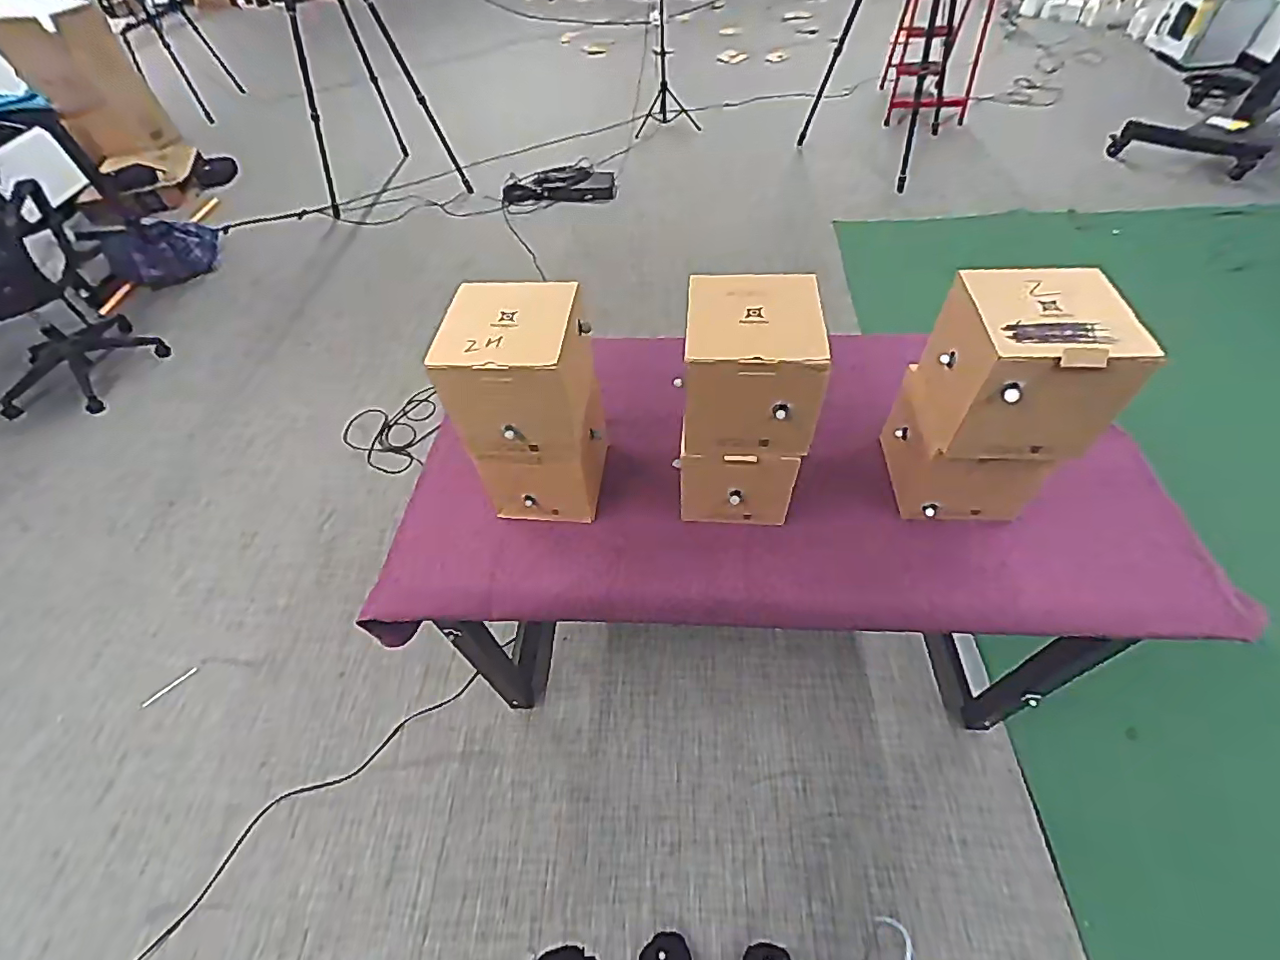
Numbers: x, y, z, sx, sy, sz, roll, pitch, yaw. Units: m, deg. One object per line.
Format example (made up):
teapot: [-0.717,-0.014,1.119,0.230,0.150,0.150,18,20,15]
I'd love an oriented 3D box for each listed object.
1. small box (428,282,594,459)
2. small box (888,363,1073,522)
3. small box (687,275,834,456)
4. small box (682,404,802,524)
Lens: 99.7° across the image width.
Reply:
small box: [-0.160,-0.150,0.745,0.168,0.176,0.179,1,53,6]
small box: [0.495,-0.054,0.819,0.168,0.176,0.179,5,53,6]
small box: [0.150,-0.148,0.718,0.168,0.176,0.179,2,52,6]
small box: [0.154,-0.046,0.846,0.168,0.176,0.179,3,53,7]
